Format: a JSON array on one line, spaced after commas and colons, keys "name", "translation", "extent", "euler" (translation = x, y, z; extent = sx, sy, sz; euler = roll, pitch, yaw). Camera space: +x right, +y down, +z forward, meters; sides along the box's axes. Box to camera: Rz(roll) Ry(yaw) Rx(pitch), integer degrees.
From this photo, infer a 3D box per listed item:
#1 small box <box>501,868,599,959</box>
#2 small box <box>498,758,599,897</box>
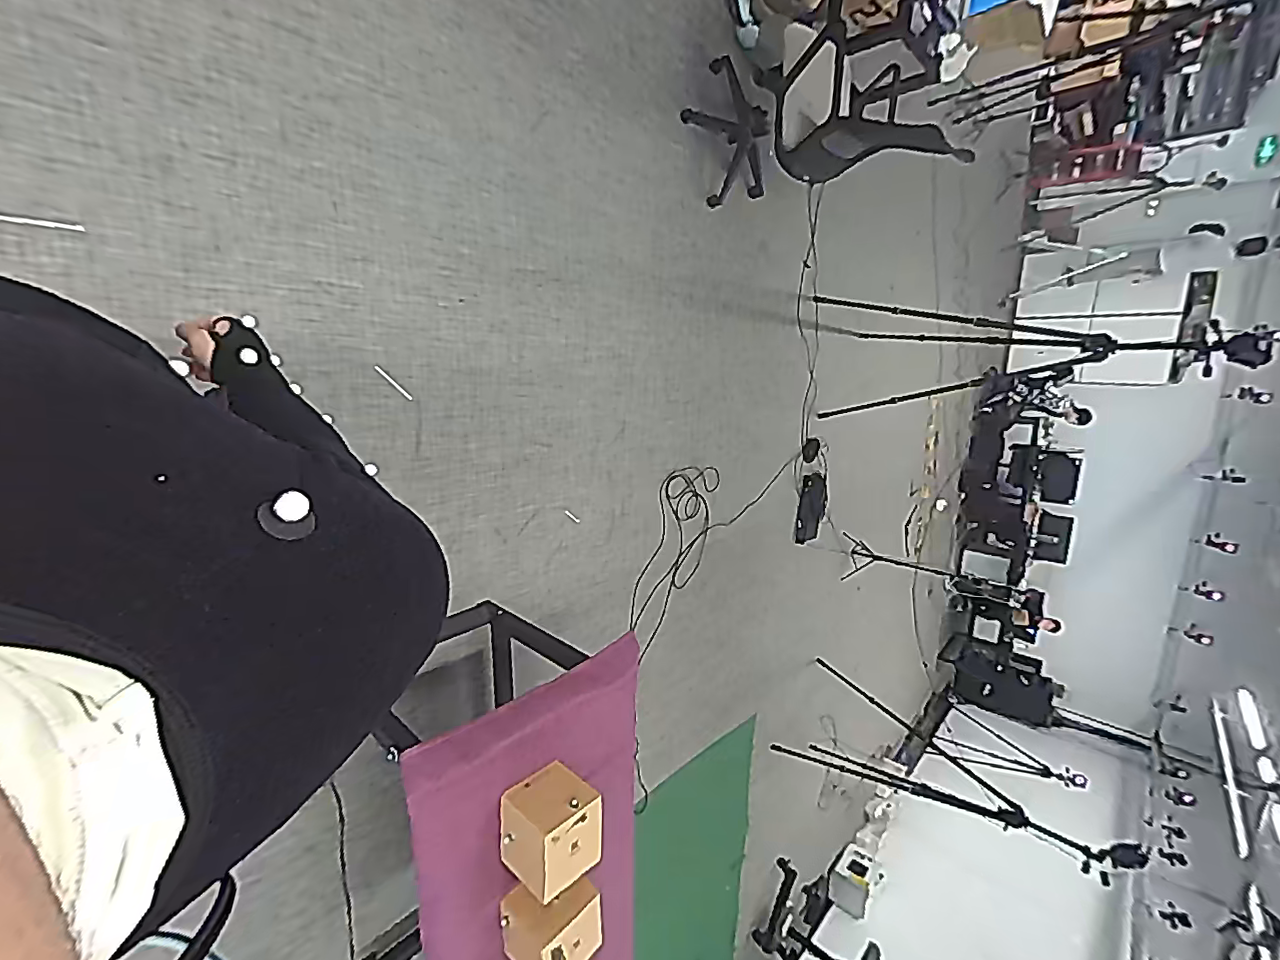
[{"name": "small box", "translation": [-0.222, 1.058, 1.313], "extent": [0.179, 0.176, 0.168], "euler": [-17, 111, -46]}, {"name": "small box", "translation": [-0.215, 0.797, 1.259], "extent": [0.168, 0.176, 0.179], "euler": [-10, 107, -48]}]
